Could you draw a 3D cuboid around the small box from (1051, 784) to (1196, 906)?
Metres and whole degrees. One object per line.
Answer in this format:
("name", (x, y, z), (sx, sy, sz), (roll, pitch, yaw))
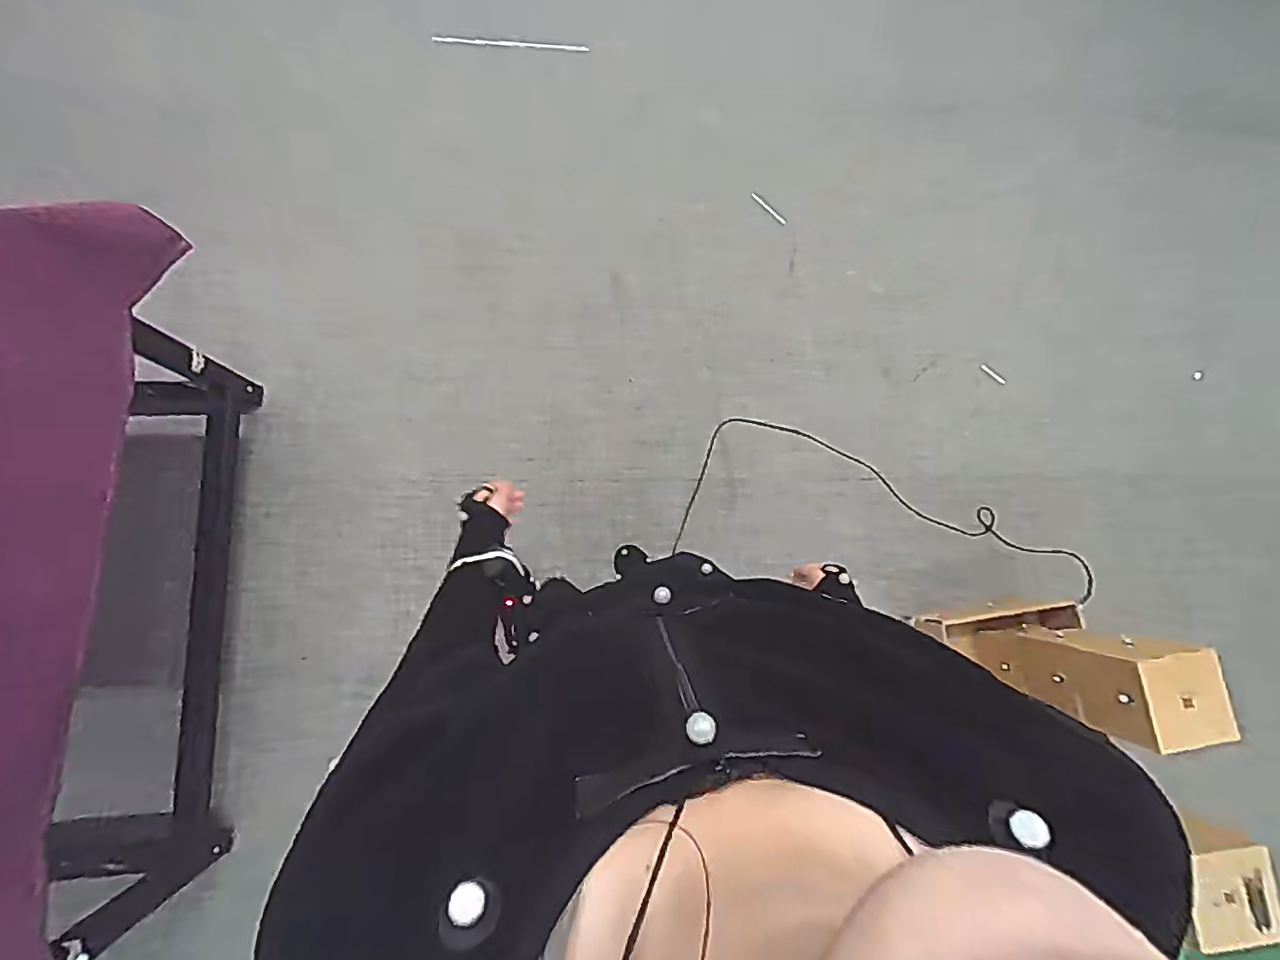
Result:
("small box", (1.068, 0.809, 1.214), (0.179, 0.176, 0.168), (-4, 82, -6))

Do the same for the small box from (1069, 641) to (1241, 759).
("small box", (1.040, 0.441, 1.108), (0.168, 0.176, 0.179), (-9, 81, -4))

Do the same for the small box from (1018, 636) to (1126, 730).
("small box", (1.029, 0.465, 1.268), (0.168, 0.176, 0.179), (-4, 82, -4))
